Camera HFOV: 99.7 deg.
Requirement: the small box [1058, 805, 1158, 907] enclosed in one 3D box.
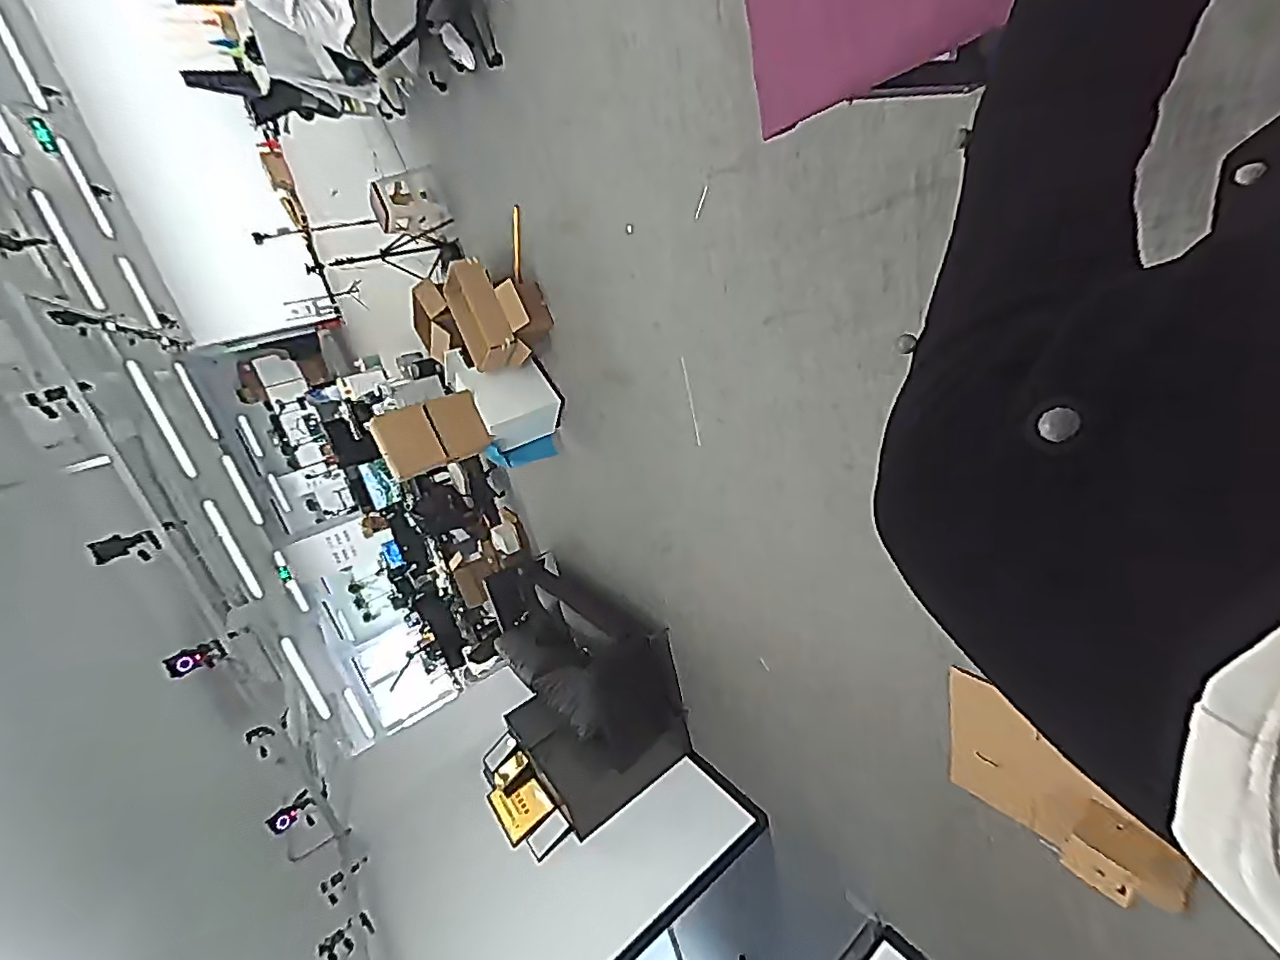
[{"bbox_3d":[1.471,1.168,1.701,0.179,0.176,0.168,28,134,48],"label":"small box"}]
